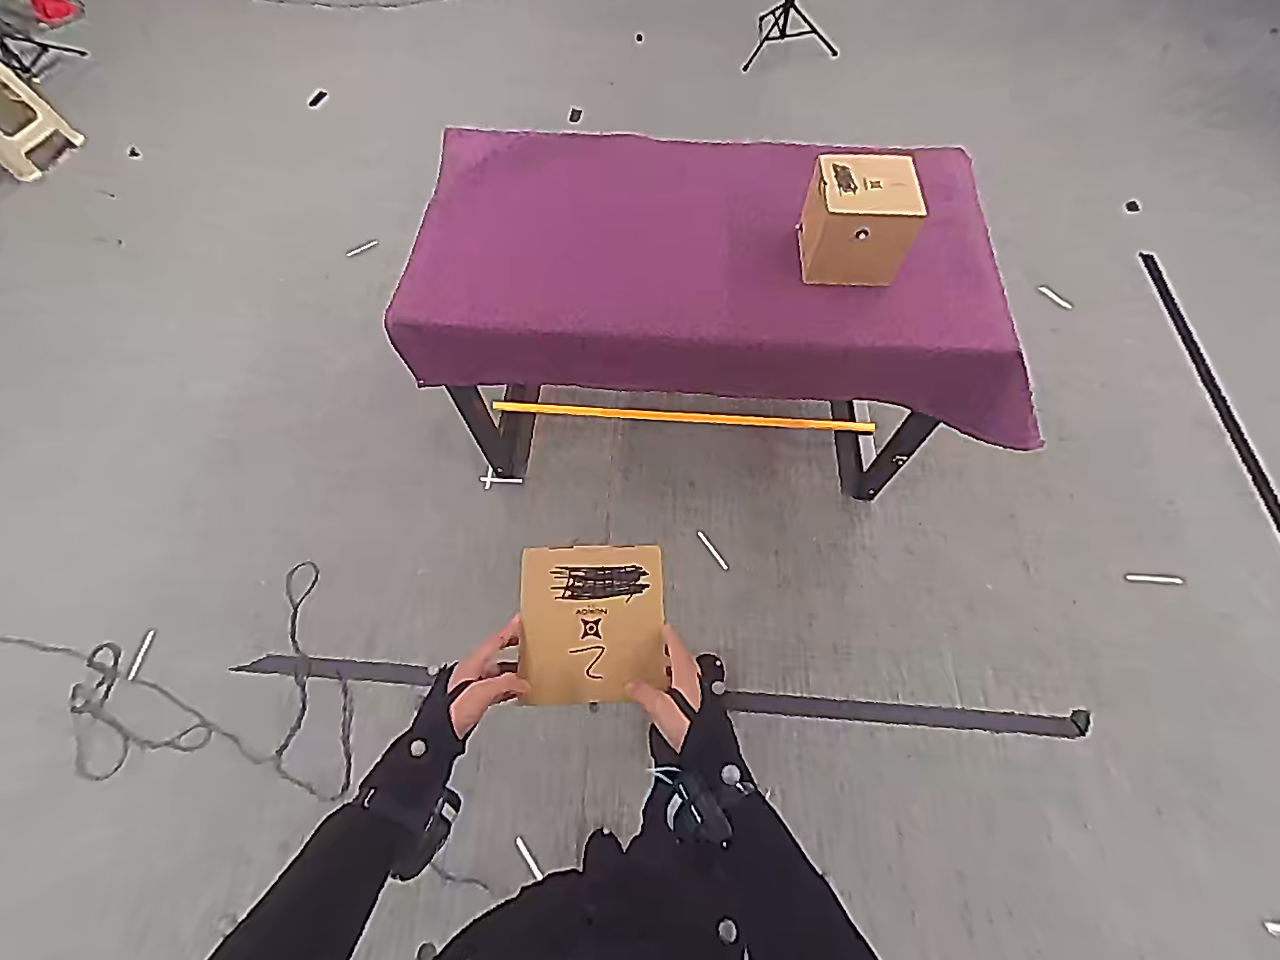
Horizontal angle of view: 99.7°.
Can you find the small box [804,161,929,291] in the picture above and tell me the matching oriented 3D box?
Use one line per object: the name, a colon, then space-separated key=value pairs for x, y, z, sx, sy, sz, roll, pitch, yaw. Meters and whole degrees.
small box: x=0.426 y=-0.490 z=1.054 sx=0.179 sy=0.176 sz=0.168 roll=3 pitch=64 yaw=2
